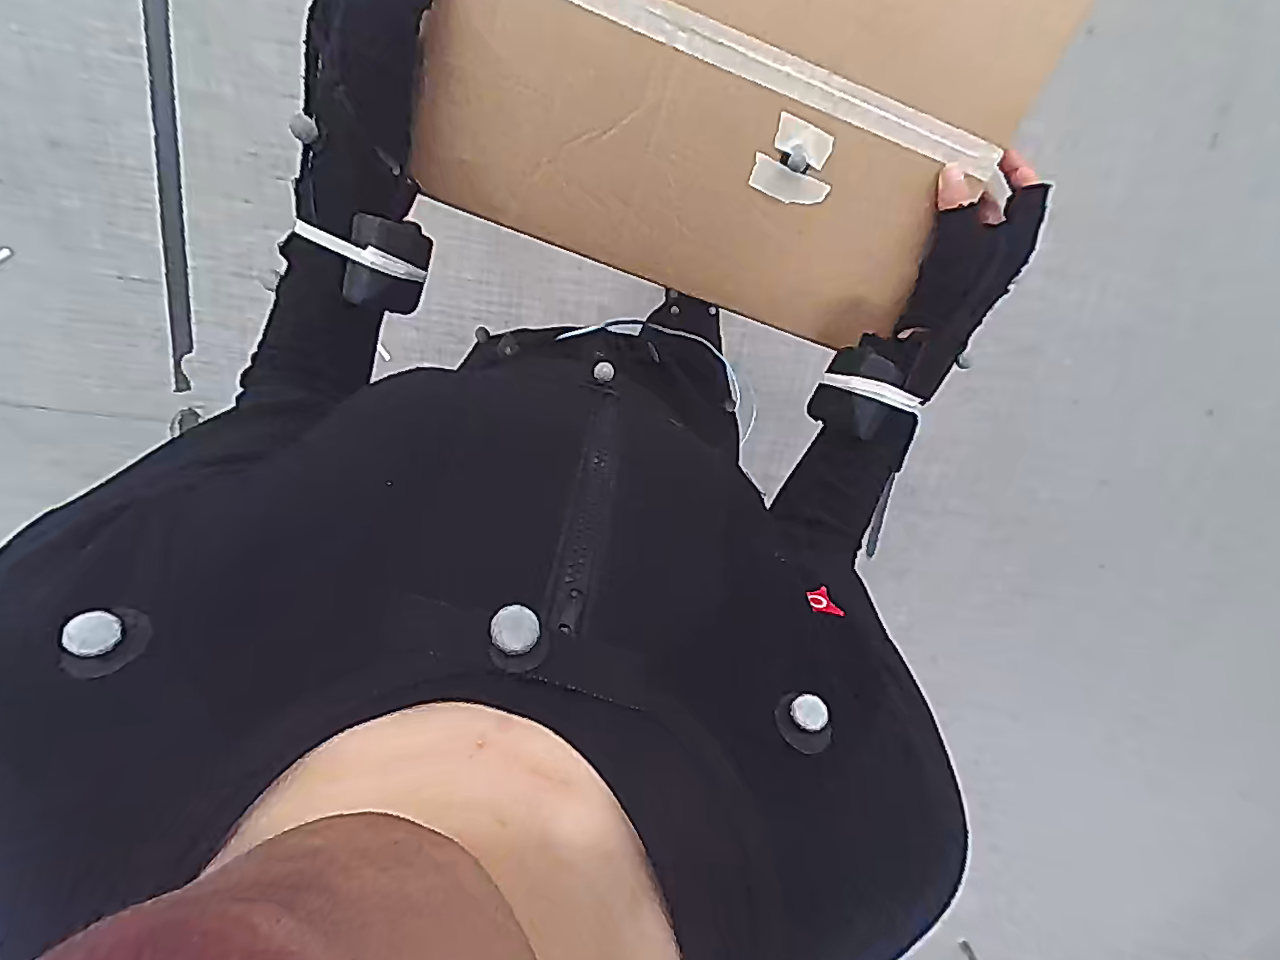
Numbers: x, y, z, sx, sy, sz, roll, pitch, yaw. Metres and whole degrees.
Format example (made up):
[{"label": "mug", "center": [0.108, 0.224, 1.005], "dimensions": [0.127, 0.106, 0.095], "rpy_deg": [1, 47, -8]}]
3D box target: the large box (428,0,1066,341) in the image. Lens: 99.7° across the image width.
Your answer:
[{"label": "large box", "center": [0.067, -0.376, 0.506], "dimensions": [0.408, 0.320, 0.320], "rpy_deg": [17, 121, -9]}]
